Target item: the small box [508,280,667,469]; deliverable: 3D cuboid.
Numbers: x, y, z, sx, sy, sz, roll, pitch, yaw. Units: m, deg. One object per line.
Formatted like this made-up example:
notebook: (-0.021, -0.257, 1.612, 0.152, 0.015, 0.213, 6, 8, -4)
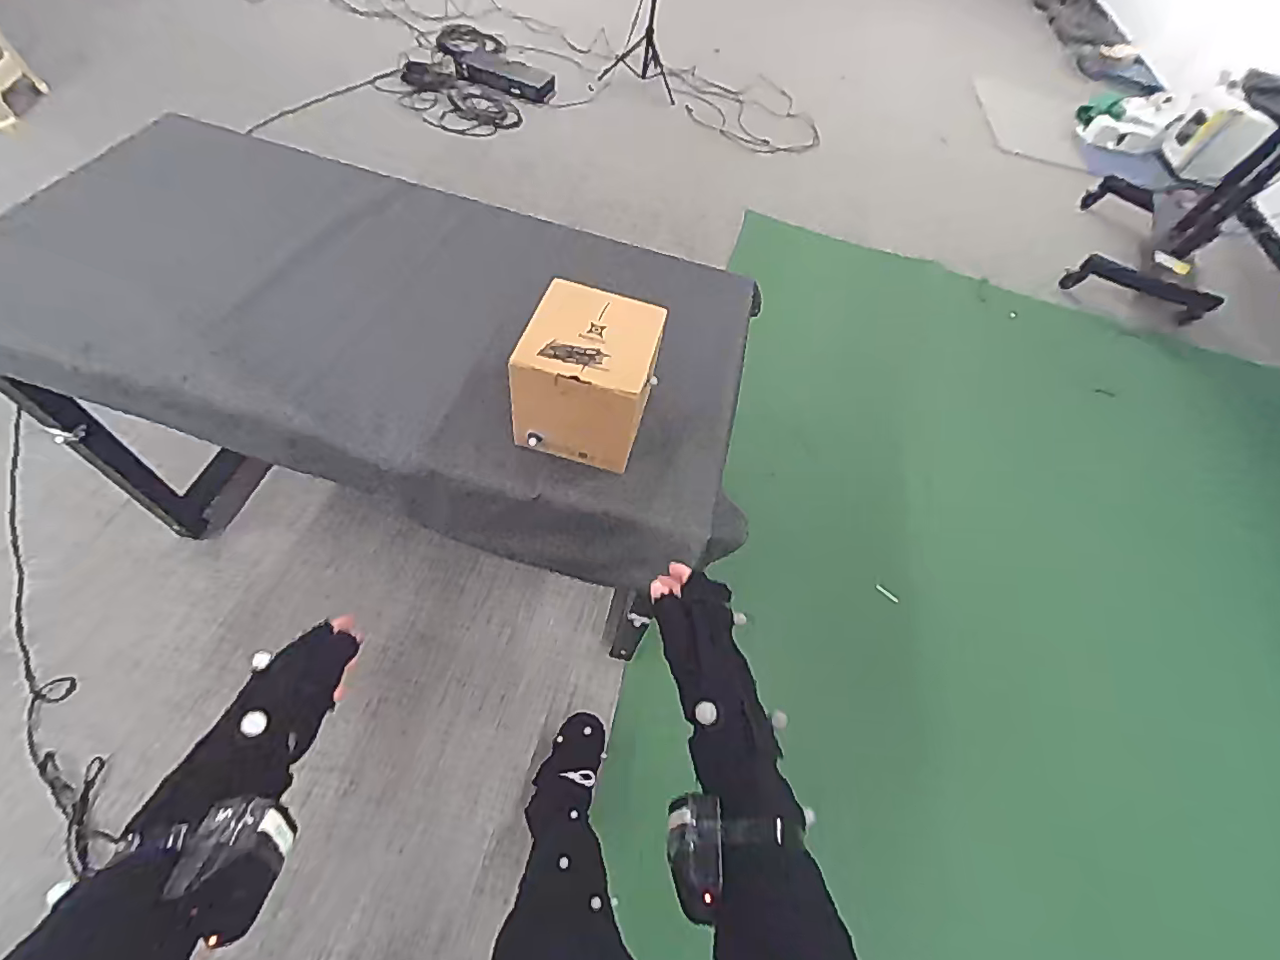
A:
small box: (-0.072, -0.141, 0.760, 0.168, 0.176, 0.179, 16, 54, 0)
